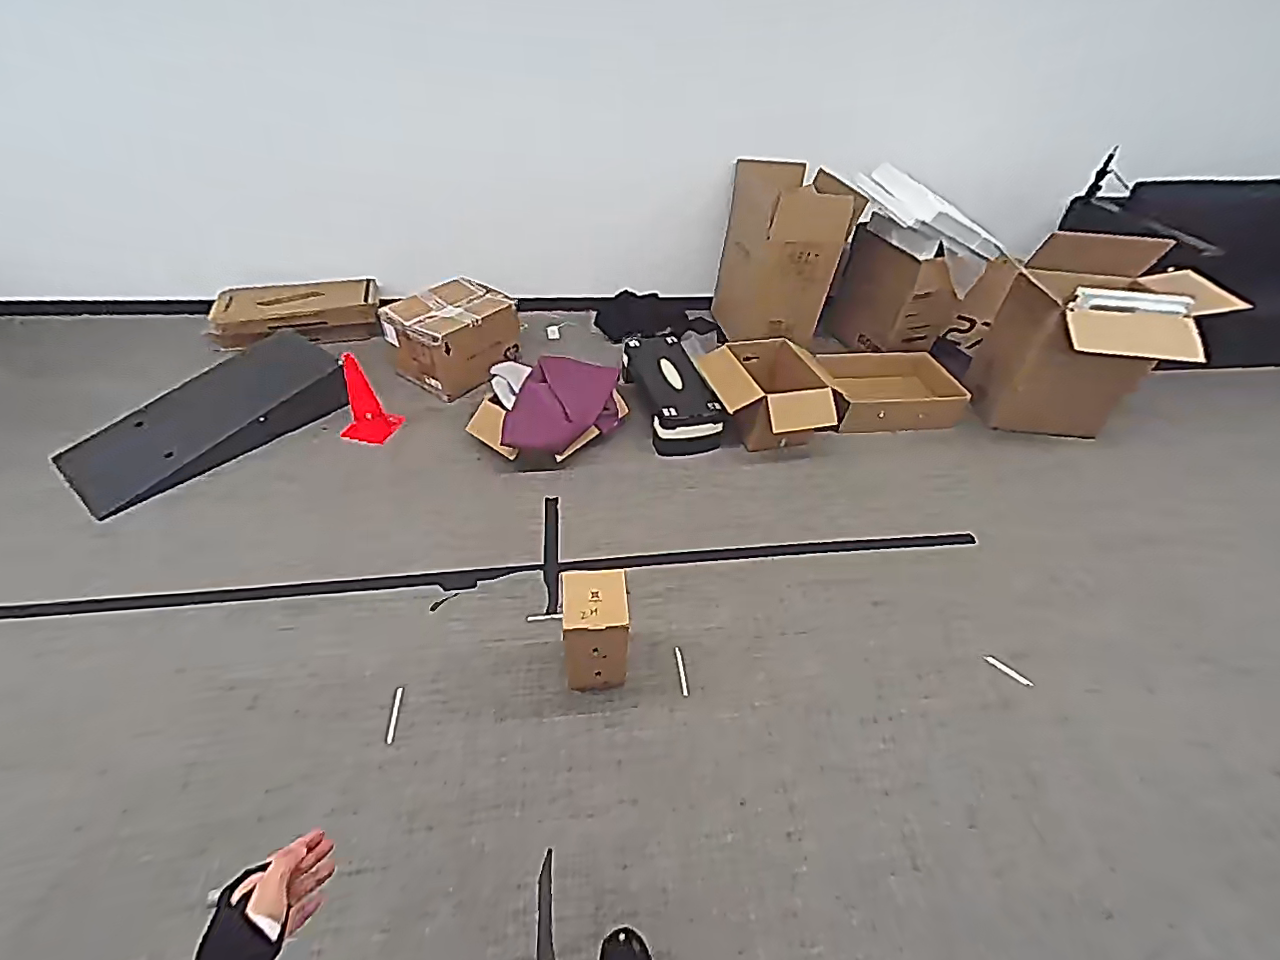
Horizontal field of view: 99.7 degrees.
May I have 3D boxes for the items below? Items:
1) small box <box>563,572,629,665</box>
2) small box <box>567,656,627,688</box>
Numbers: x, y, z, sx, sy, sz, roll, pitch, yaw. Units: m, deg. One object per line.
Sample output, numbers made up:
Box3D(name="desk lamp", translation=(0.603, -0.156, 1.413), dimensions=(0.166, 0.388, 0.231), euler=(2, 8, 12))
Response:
Box3D(name="small box", translation=(-0.120, 0.368, 1.439), dimensions=(0.168, 0.176, 0.179), euler=(-2, 44, -6))
Box3D(name="small box", translation=(-0.127, 0.485, 1.558), dimensions=(0.168, 0.176, 0.179), euler=(-3, 44, -8))
